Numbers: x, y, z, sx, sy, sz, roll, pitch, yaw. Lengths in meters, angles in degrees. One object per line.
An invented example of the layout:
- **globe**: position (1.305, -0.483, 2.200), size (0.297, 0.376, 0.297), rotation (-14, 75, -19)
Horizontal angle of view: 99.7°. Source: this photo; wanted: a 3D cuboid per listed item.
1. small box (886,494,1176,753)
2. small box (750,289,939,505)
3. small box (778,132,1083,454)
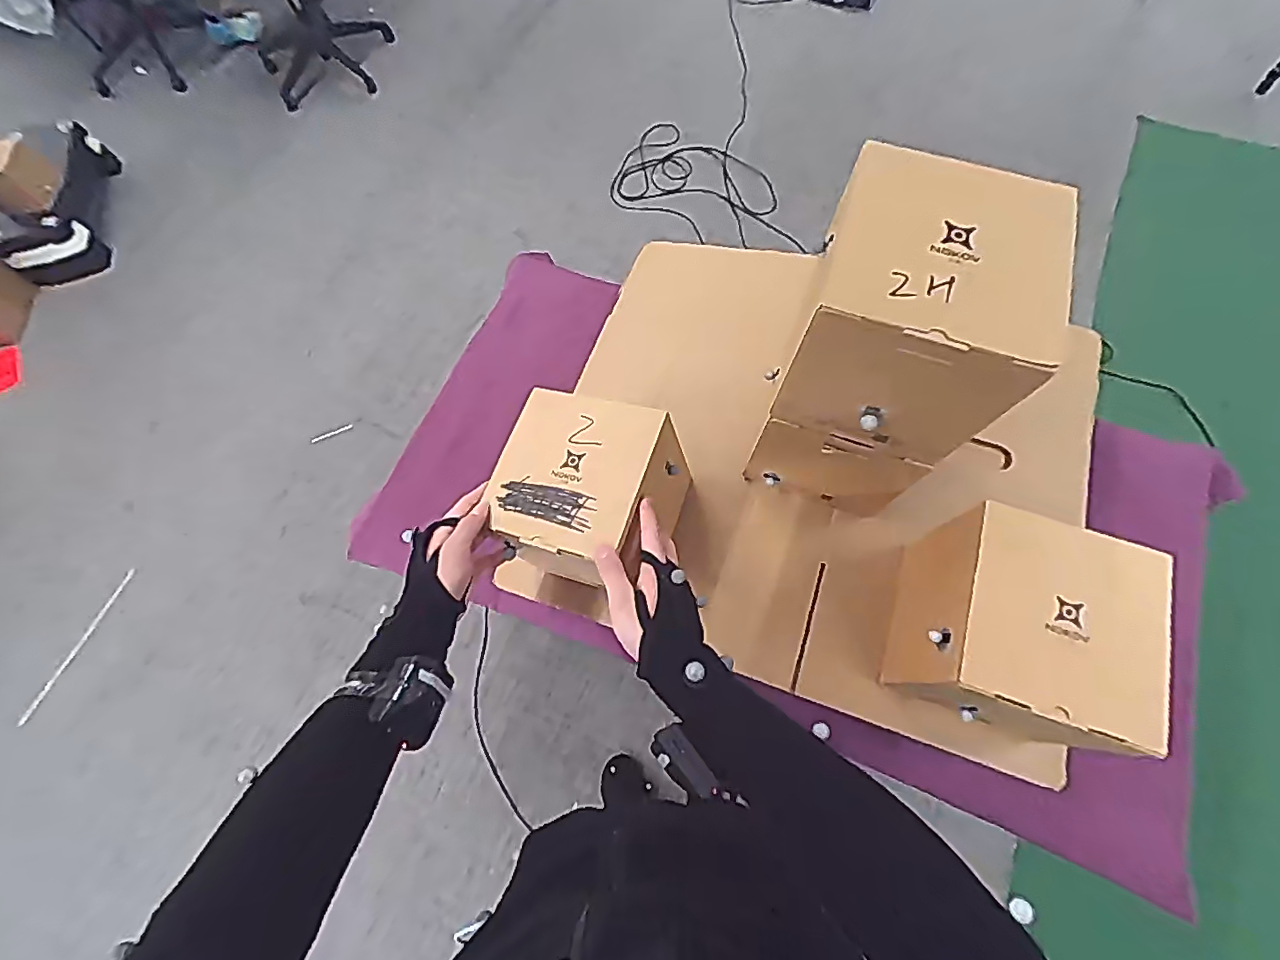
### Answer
- **small box**: position (0.369, 0.141, 0.537), size (0.168, 0.176, 0.179), rotation (18, 72, 7)
- **small box**: position (0.234, -0.089, 0.622), size (0.168, 0.176, 0.179), rotation (18, 71, 7)
- **small box**: position (0.232, -0.149, 0.468), size (0.168, 0.176, 0.179), rotation (18, 72, 7)
